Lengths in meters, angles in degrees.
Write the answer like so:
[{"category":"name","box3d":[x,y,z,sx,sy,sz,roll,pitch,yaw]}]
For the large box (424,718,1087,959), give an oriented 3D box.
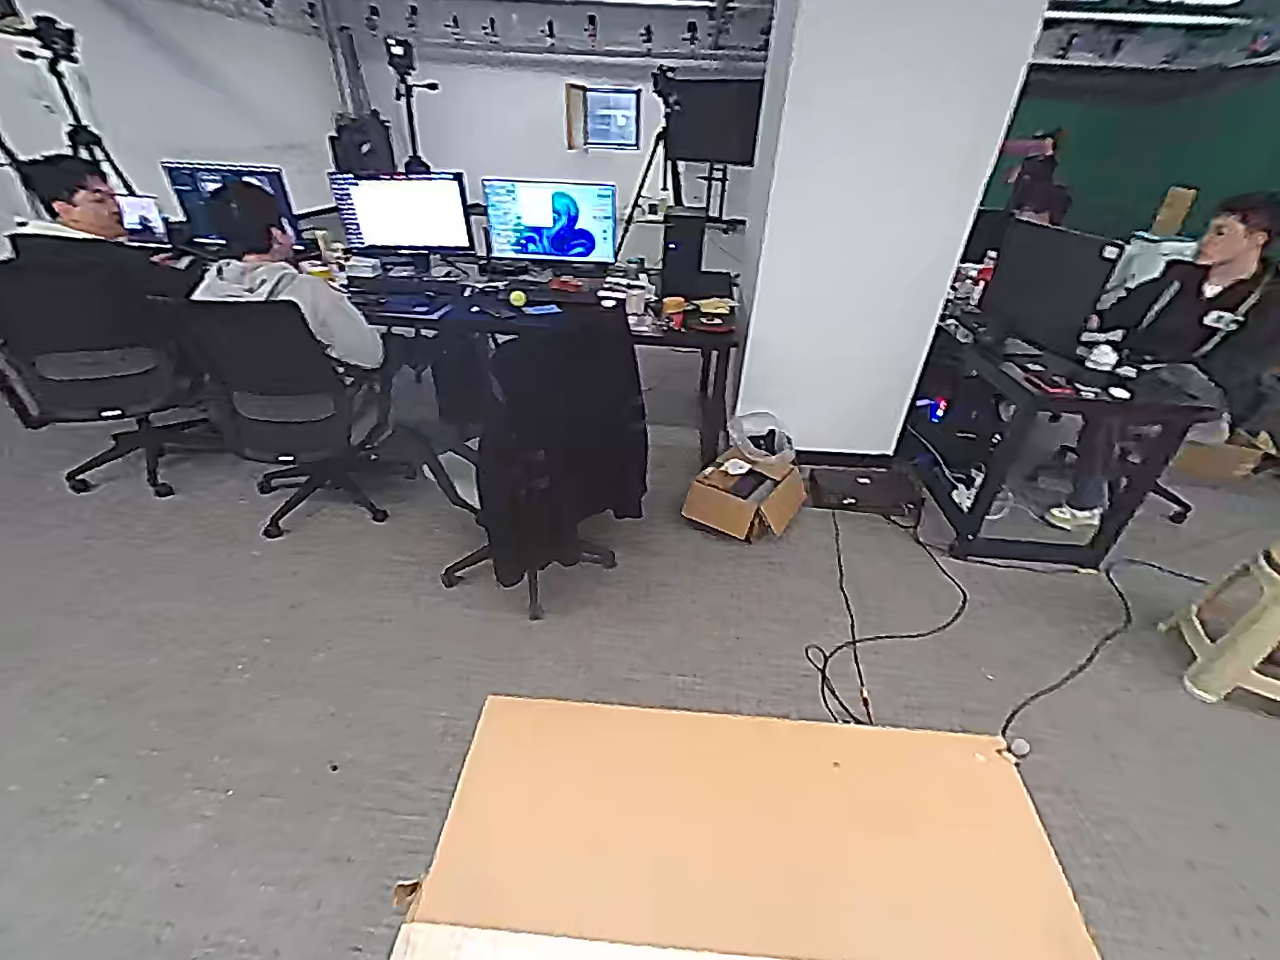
[{"category":"large box","box3d":[0.064,0.411,0.405,0.408,0.320,0.320,3,40,2]}]
